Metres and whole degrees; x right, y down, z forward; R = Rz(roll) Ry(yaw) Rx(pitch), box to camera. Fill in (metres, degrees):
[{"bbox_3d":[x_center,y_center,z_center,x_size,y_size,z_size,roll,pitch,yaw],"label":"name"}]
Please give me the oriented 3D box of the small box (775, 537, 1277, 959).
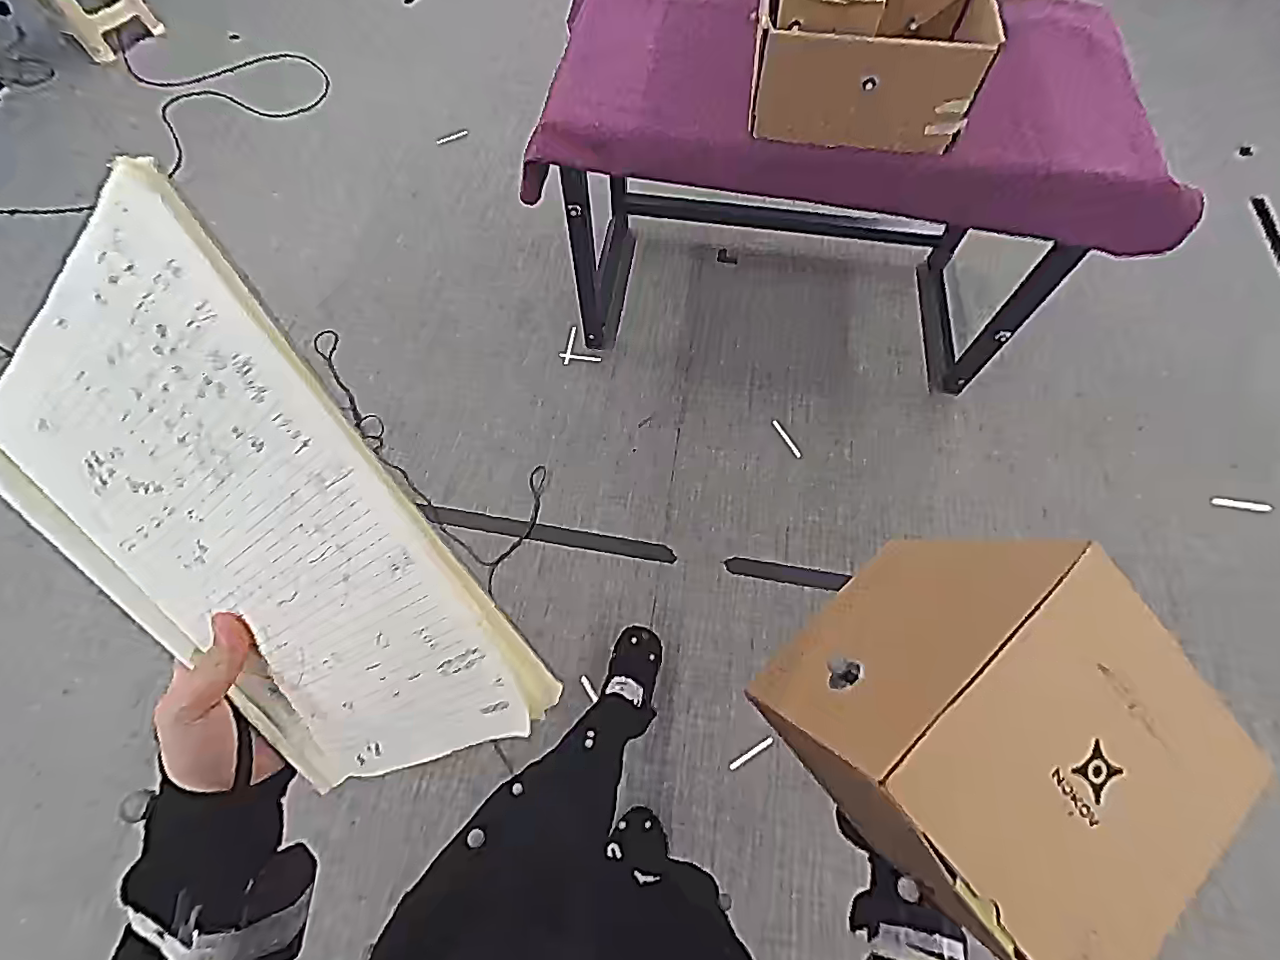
[{"bbox_3d":[0.211,0.154,0.345,0.179,0.176,0.168,-40,94,-14],"label":"small box"}]
